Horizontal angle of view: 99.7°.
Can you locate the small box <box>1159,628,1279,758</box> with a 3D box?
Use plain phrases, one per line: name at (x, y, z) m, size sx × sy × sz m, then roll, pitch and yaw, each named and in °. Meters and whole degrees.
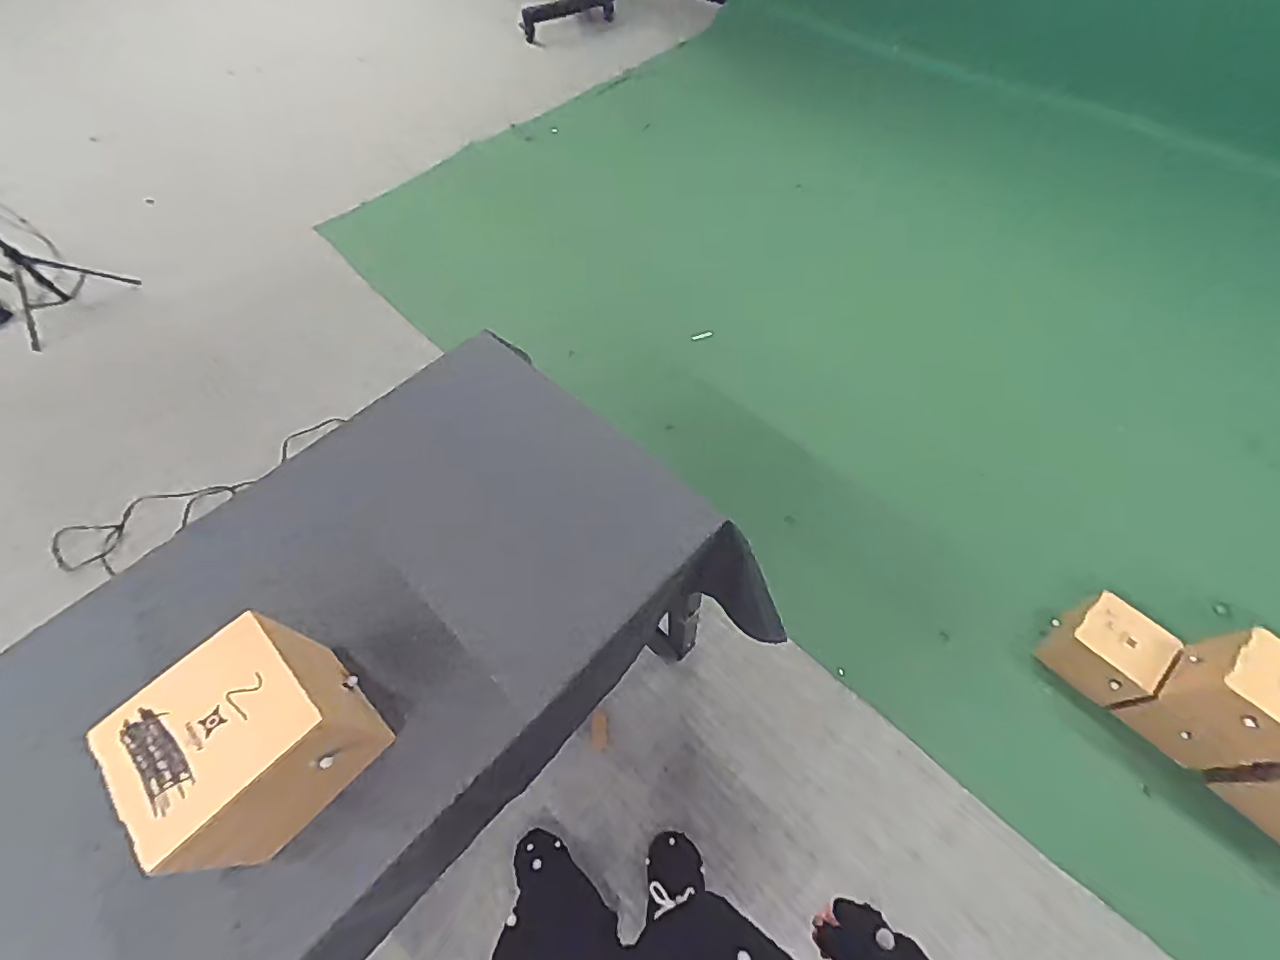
small box at (1.226, 0.432, 1.085) m, size 0.168 × 0.176 × 0.179 m, roll -37°, pitch 63°, yaw -17°
